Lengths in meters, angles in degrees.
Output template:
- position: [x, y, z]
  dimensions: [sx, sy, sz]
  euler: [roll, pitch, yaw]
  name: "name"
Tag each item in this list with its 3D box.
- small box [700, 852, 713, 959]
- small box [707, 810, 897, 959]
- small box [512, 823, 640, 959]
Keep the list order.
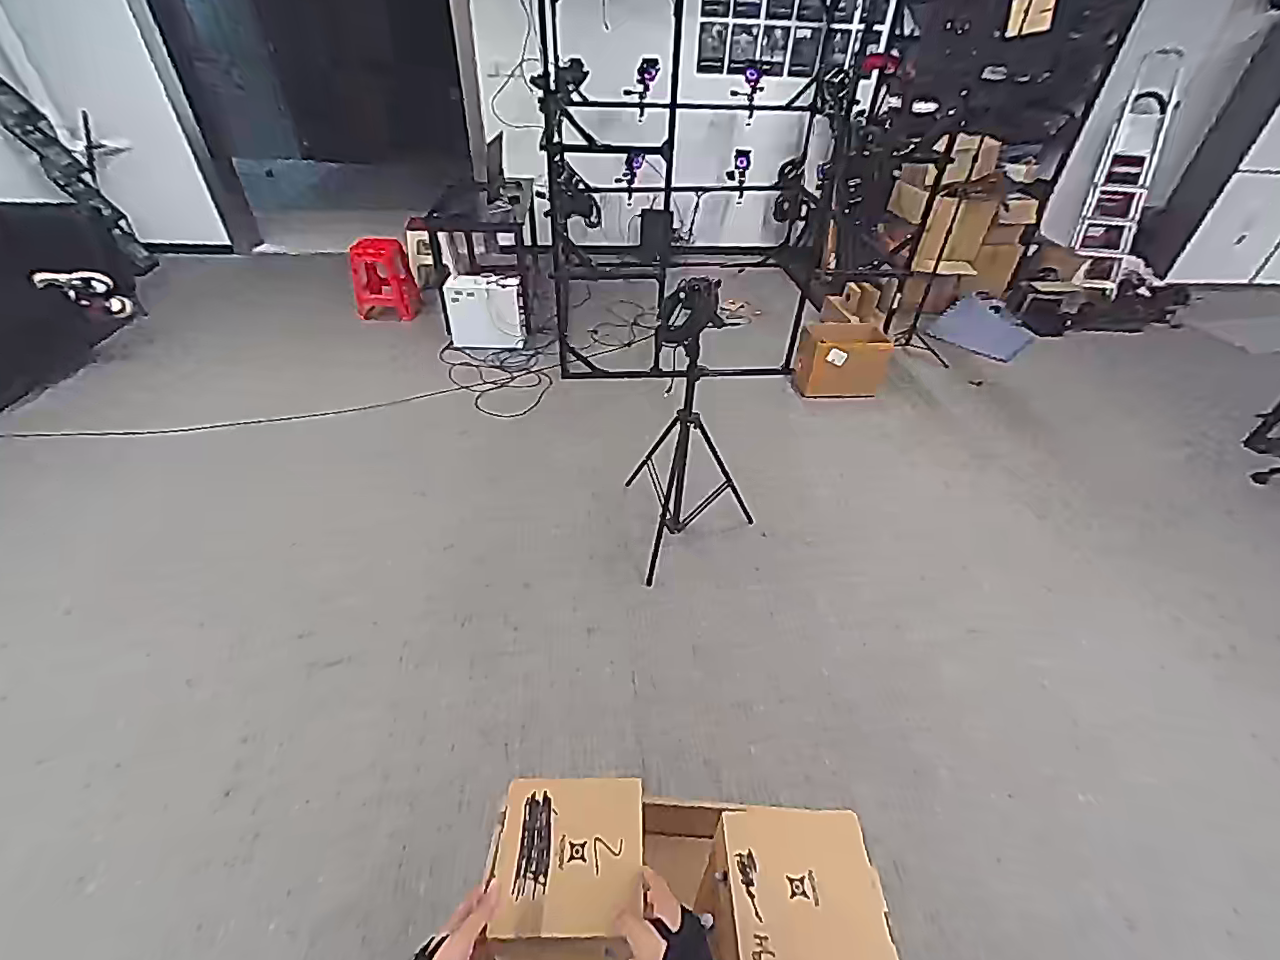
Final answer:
- position: [0.179, 0.666, 0.775]
  dimensions: [0.168, 0.176, 0.179]
  euler: [3, 38, 0]
  name: "small box"
- position: [0.187, 0.537, 0.675]
  dimensions: [0.179, 0.176, 0.168]
  euler: [2, 38, -2]
  name: "small box"
- position: [-0.085, 0.635, 0.795]
  dimensions: [0.168, 0.176, 0.179]
  euler: [-1, 39, -2]
  name: "small box"
